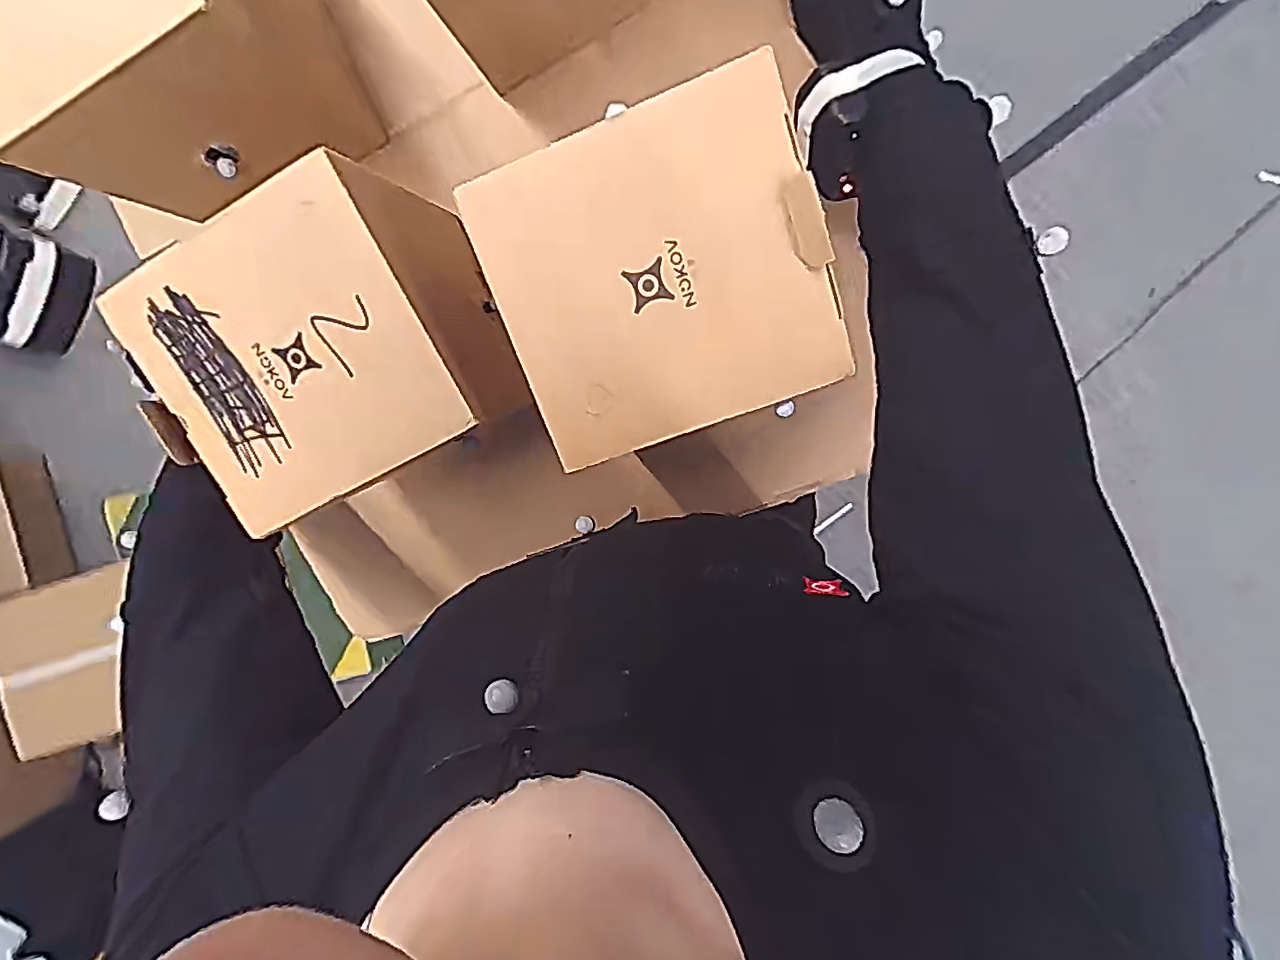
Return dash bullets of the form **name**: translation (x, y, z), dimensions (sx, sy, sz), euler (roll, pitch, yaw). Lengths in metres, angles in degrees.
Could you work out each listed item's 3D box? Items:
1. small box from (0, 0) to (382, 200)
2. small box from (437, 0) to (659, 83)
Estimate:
- **small box**: translation (-0.313, -0.315, 0.361), dimensions (0.168, 0.176, 0.179), euler (-21, 97, 10)
- **small box**: translation (-0.068, -0.390, 0.315), dimensions (0.179, 0.176, 0.168), euler (-22, 98, 12)
